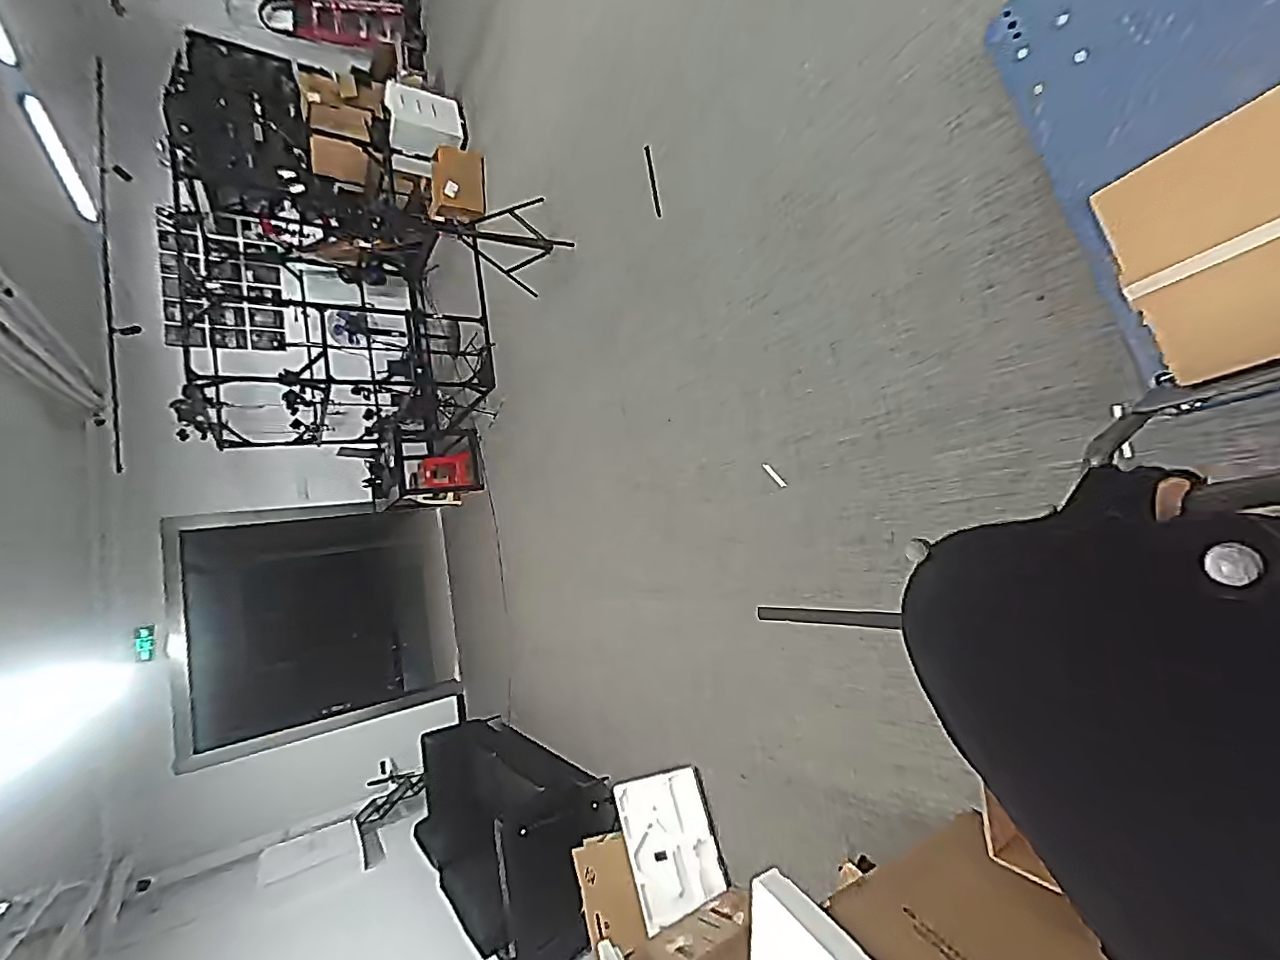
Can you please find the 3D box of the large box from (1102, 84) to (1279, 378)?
[{"bbox_3d":[0.949,-0.373,0.706,0.408,0.320,0.320,-30,80,54],"label":"large box"}]
